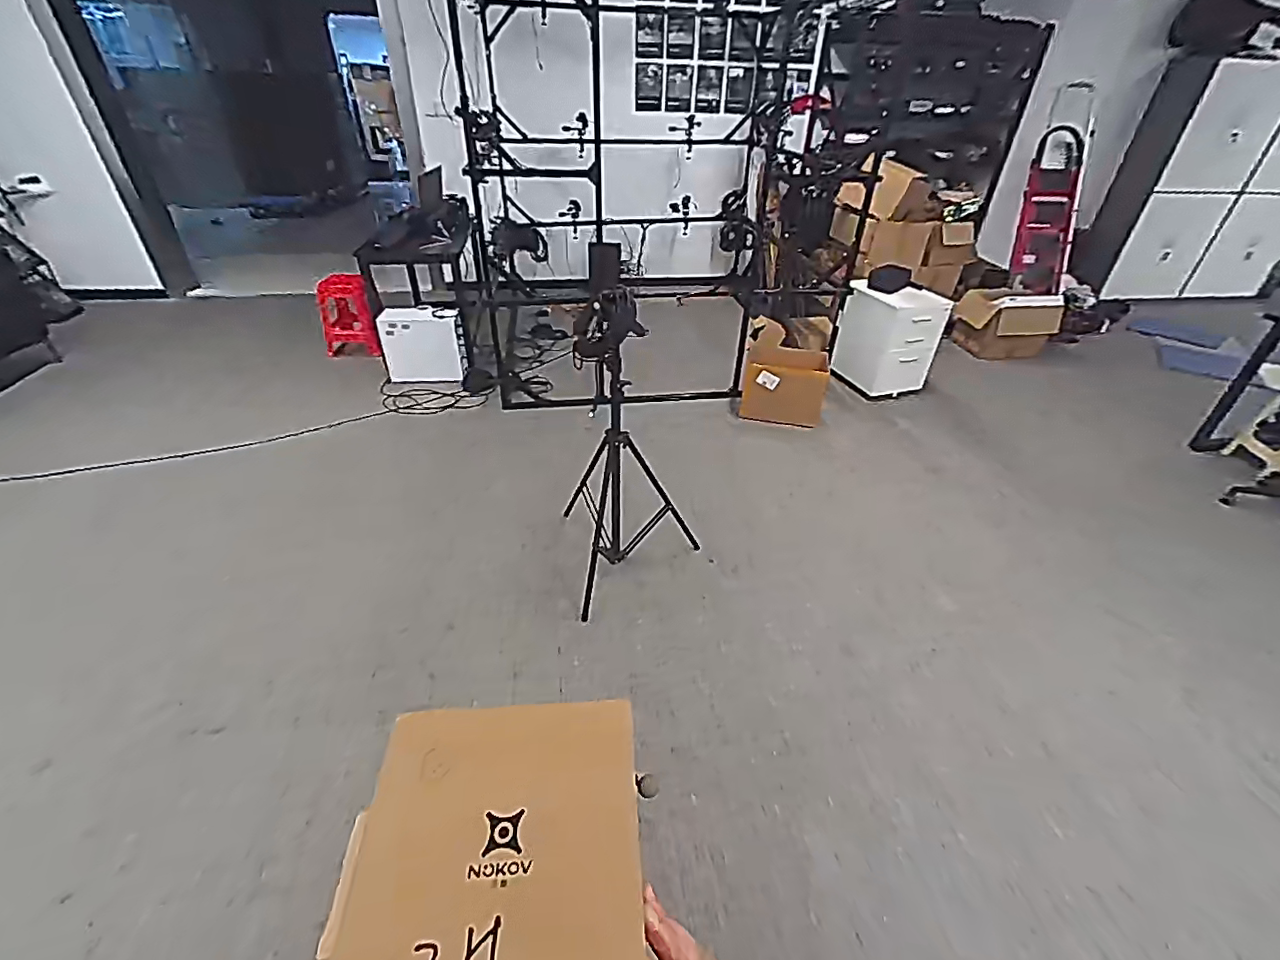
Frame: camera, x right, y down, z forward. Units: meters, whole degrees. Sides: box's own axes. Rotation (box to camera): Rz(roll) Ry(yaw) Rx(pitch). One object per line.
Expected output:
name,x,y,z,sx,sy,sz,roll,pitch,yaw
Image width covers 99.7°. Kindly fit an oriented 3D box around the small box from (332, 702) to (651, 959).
small box,-0.081,0.276,0.367,0.168,0.176,0.179,-2,42,-3
